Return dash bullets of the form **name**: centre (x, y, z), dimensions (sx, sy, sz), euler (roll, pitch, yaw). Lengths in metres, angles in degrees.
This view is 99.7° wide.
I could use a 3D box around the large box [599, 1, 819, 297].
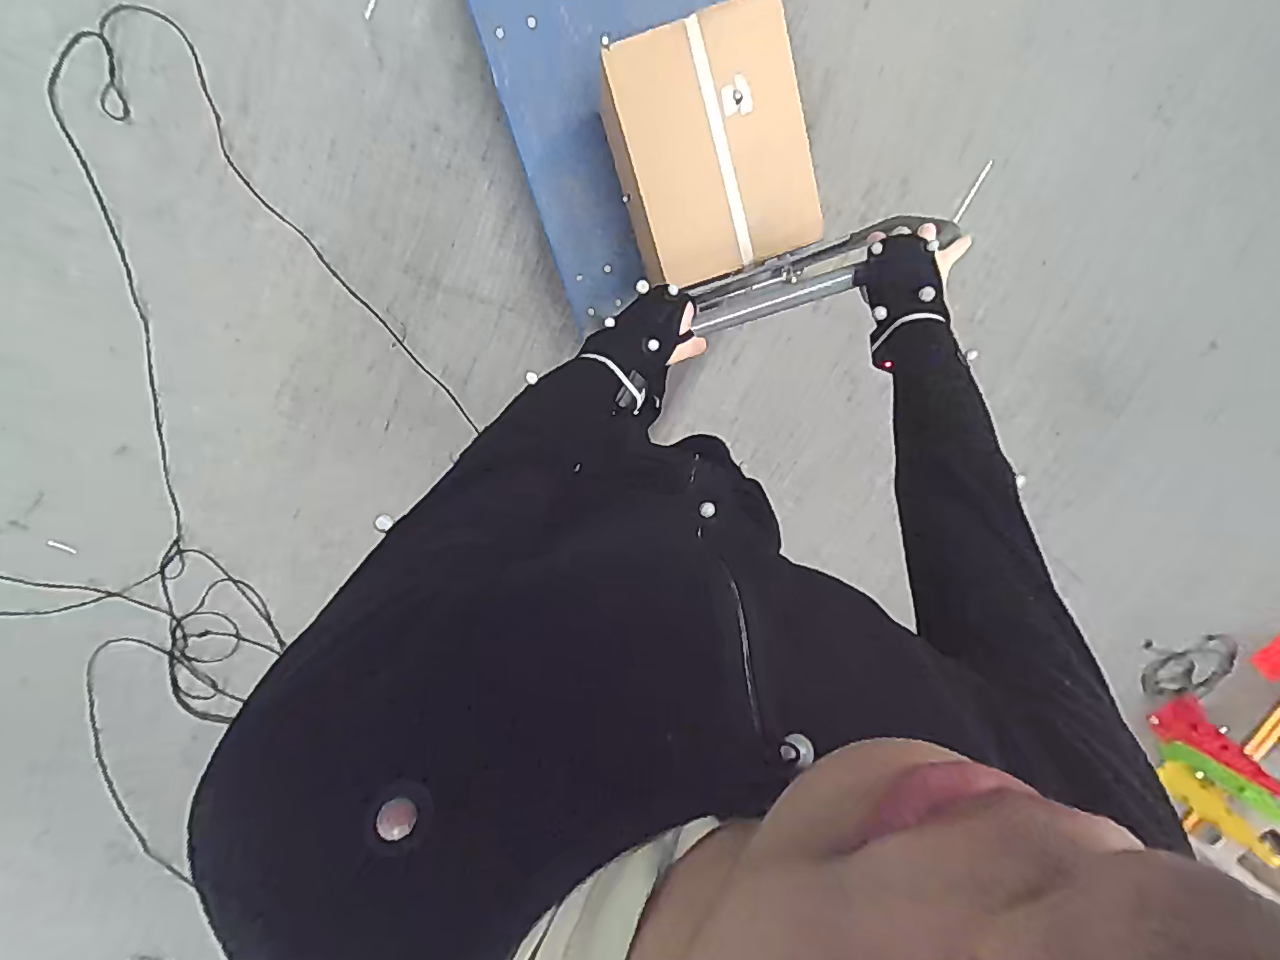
- **large box**: centre (0.128, -0.630, 1.119), dimensions (0.320, 0.320, 0.408), euler (-19, 107, 1)
